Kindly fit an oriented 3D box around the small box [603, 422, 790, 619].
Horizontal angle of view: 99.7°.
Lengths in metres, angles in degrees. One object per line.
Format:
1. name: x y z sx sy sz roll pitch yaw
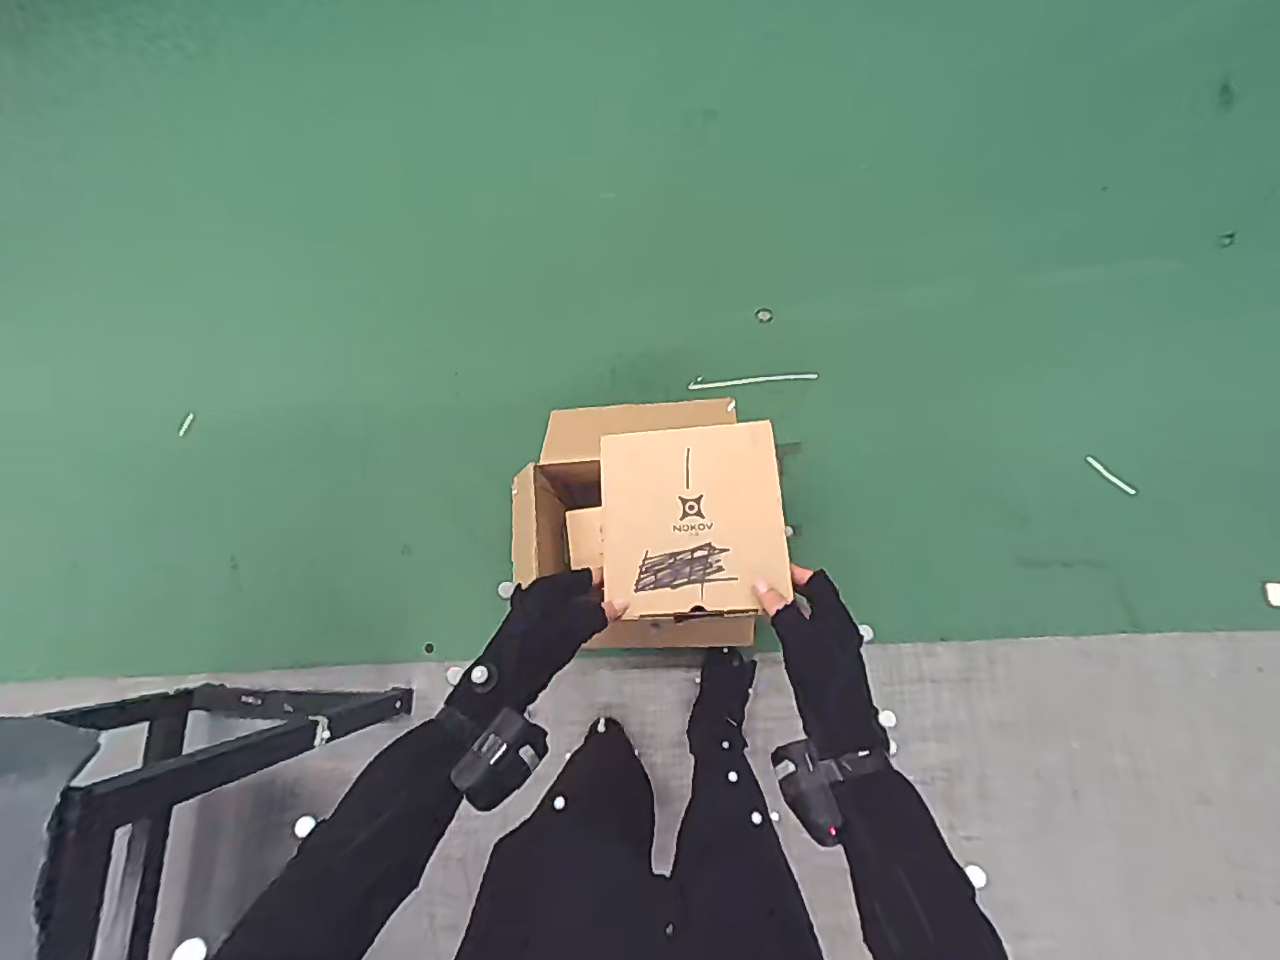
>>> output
1. small box: 0.057 0.055 0.572 0.168 0.176 0.179 -4 73 5
